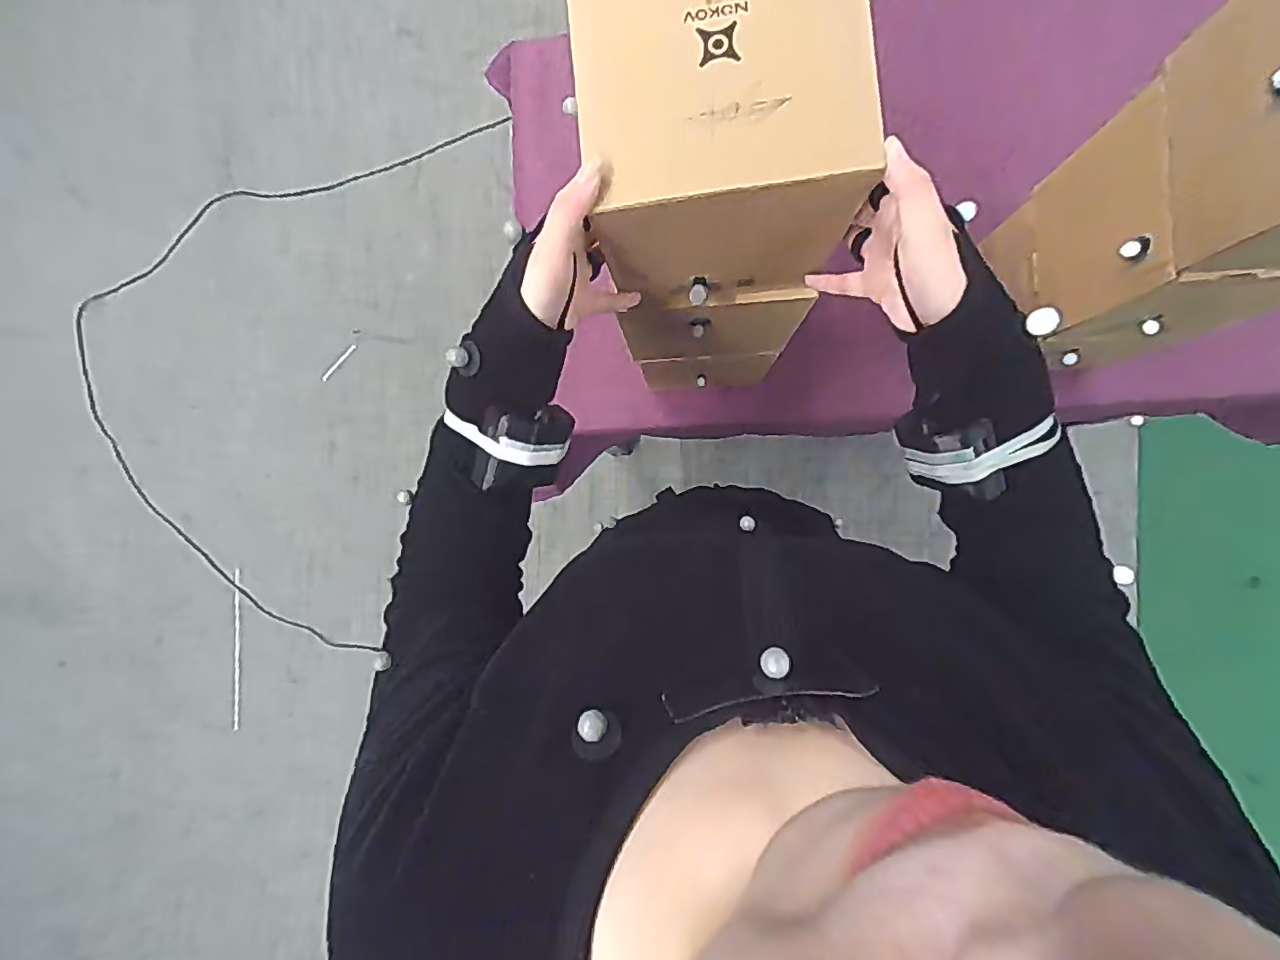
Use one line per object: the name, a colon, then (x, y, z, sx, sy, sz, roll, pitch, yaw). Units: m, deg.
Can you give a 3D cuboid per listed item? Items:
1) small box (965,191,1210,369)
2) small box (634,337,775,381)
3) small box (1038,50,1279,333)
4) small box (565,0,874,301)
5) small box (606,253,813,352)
small box: (0.525, -0.239, 0.663, 0.179, 0.176, 0.168, -3, 89, 6)
small box: (0.079, -0.229, 0.704, 0.168, 0.176, 0.179, -2, 88, 5)
small box: (0.506, -0.249, 0.501, 0.168, 0.176, 0.179, -2, 89, 5)
small box: (0.047, -0.246, 0.379, 0.168, 0.176, 0.179, -5, 89, 6)
small box: (0.063, -0.232, 0.540, 0.179, 0.176, 0.168, -3, 88, 5)
